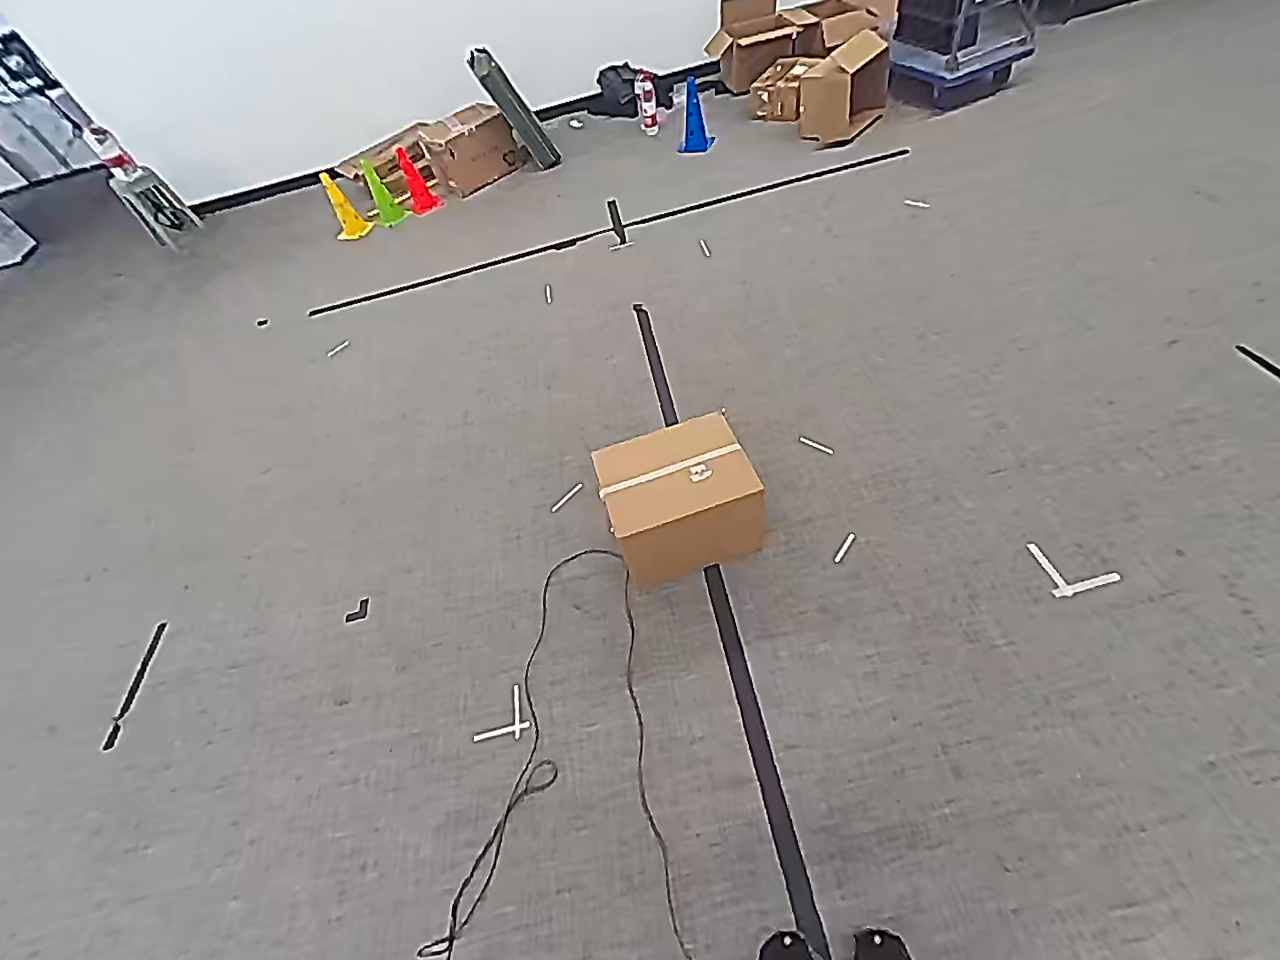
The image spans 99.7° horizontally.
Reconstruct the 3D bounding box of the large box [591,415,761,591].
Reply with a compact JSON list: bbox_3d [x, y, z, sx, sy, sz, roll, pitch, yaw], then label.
[{"bbox_3d":[0.108,0.074,1.592,0.408,0.320,0.320,-18,52,-3],"label":"large box"}]
